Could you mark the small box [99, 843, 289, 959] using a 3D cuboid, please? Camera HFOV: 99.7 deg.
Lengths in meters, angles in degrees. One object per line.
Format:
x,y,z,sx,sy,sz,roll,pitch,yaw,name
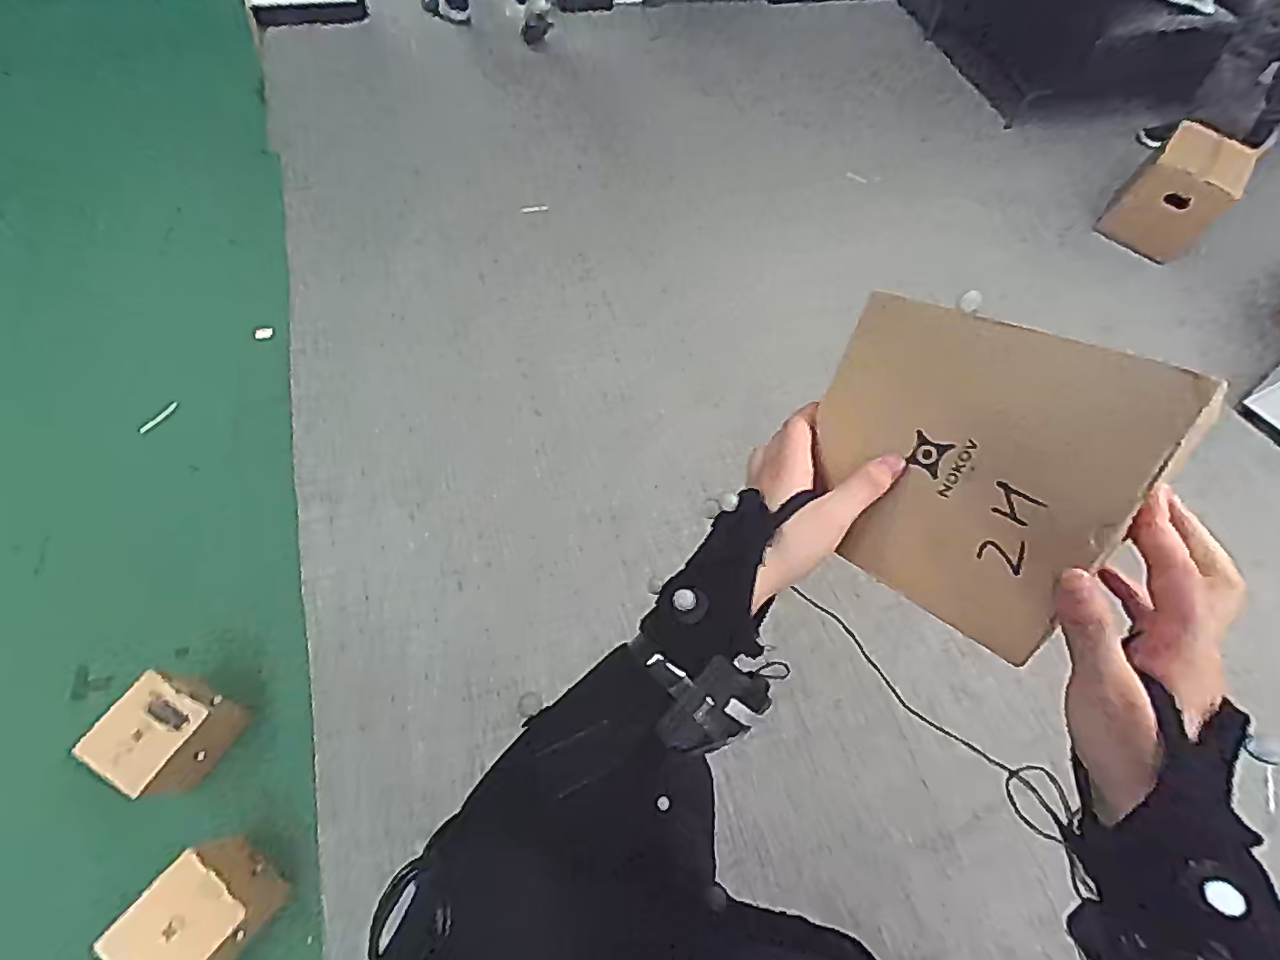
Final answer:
-0.802,0.813,0.995,0.168,0.176,0.179,35,64,12,small box
